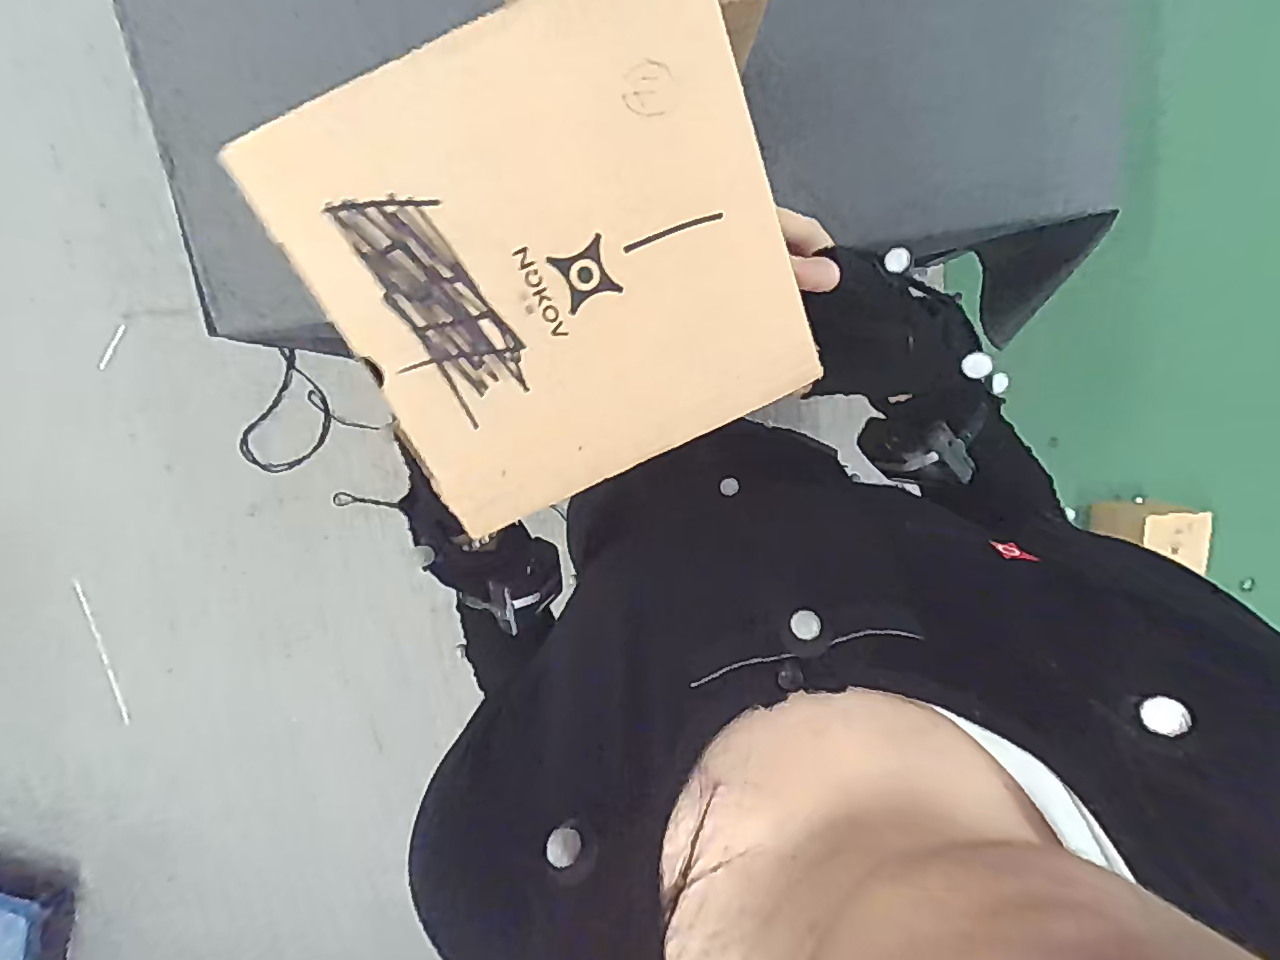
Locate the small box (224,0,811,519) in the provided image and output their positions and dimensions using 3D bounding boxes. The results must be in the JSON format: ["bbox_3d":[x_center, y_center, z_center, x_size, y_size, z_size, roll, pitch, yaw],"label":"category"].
[{"bbox_3d":[-0.043,-0.112,0.282,0.179,0.176,0.168,-25,115,2],"label":"small box"}]
